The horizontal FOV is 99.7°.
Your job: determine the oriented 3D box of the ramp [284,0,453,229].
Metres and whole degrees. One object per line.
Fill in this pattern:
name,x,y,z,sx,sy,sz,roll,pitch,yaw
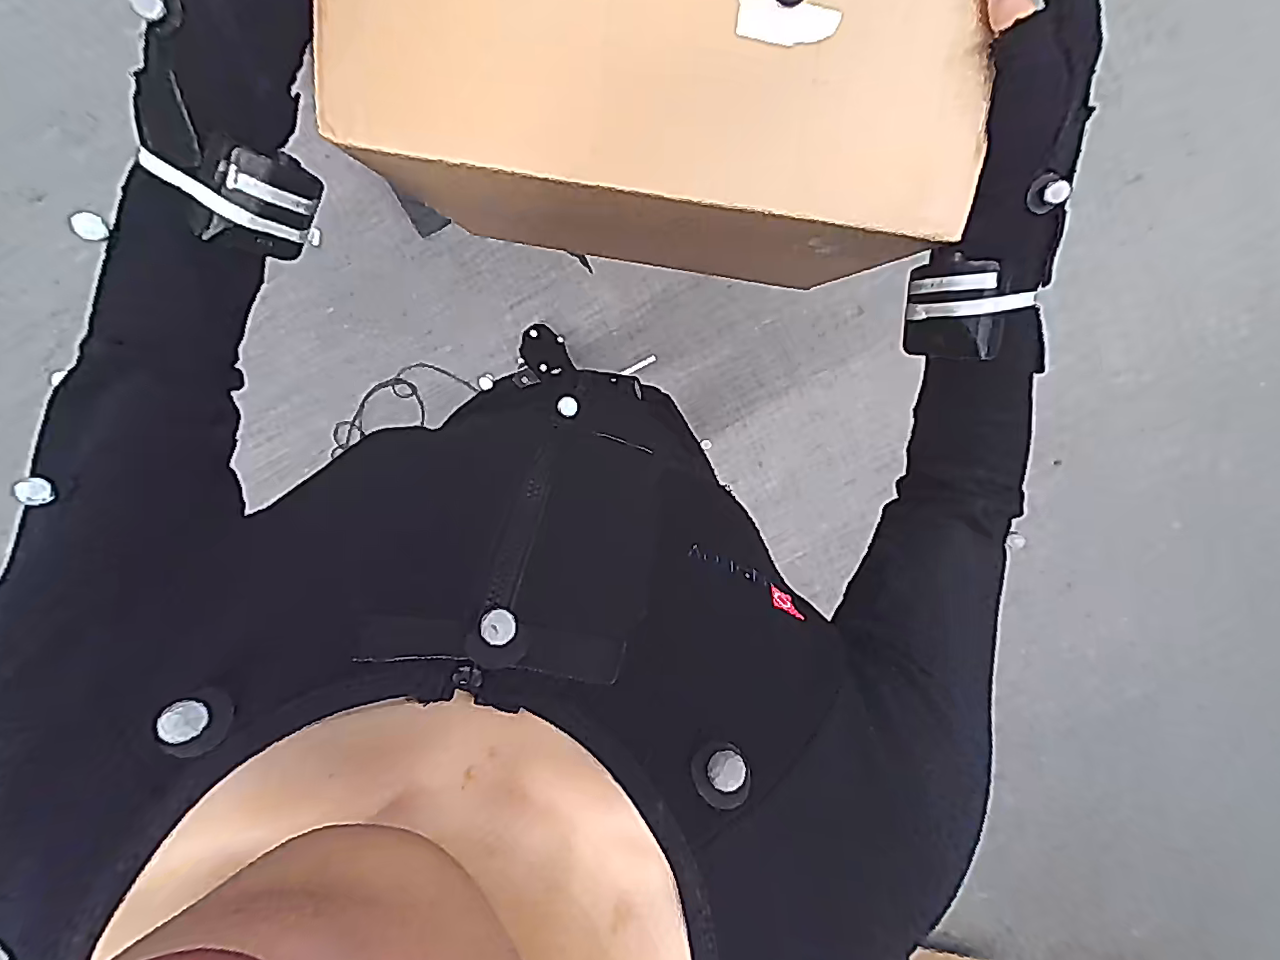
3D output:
ramp,-0.556,-1.148,1.179,0.509,0.206,0.991,-29,100,4

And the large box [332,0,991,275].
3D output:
large box,0.018,-0.378,0.459,0.408,0.320,0.320,7,104,-3
